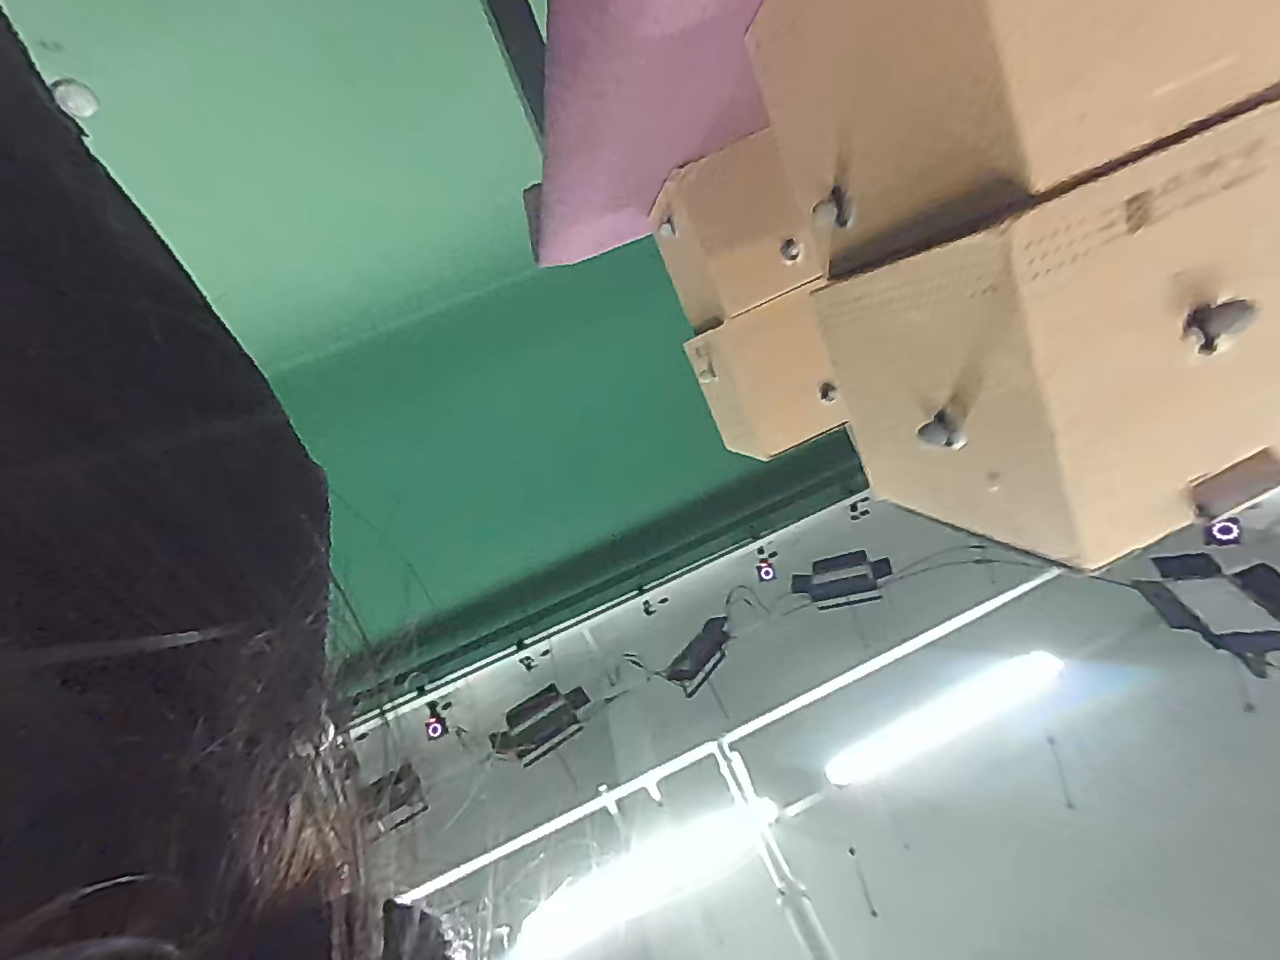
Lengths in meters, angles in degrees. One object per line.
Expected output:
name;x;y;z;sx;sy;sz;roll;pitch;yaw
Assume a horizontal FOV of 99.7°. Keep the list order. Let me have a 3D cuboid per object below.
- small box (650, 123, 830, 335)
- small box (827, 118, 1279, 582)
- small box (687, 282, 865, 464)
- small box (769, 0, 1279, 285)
small box;0.132;-0.289;0.643;0.179;0.176;0.168;-25;-169;-3
small box;0.236;-0.073;0.314;0.168;0.176;0.179;-24;-168;-4
small box;0.183;-0.140;0.692;0.179;0.176;0.168;-24;-169;-4
small box;0.188;-0.228;0.285;0.168;0.176;0.179;-25;-168;-5
